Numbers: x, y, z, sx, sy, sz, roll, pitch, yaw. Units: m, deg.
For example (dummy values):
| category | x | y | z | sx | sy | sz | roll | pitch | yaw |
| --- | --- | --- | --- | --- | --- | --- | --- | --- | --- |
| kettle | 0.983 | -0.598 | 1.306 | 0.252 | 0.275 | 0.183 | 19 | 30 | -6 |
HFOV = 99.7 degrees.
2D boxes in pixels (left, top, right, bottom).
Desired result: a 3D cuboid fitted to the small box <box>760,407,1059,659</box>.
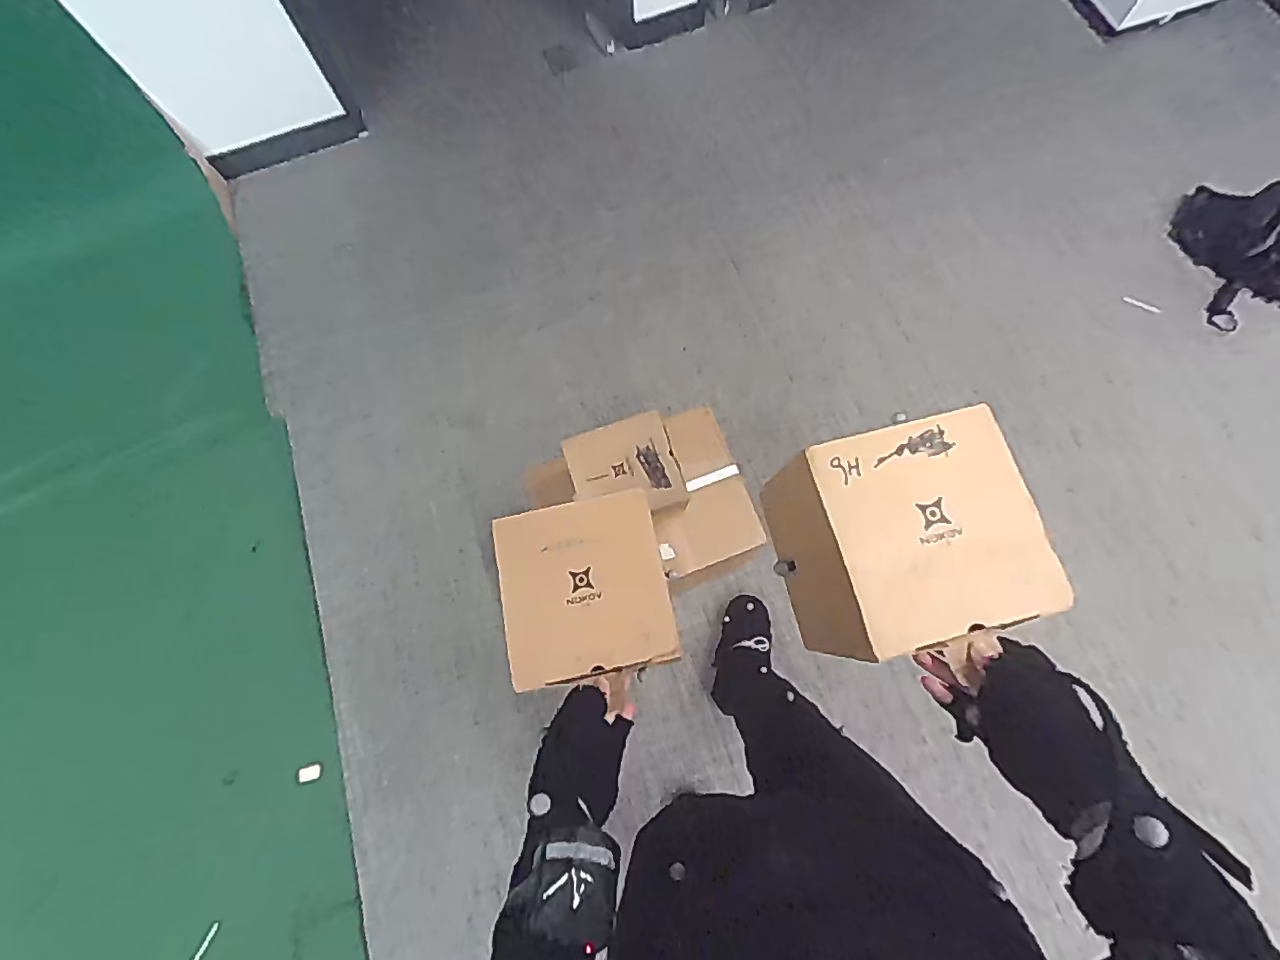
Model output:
| category | x | y | z | sx | sy | sz | roll | pitch | yaw |
| --- | --- | --- | --- | --- | --- | --- | --- | --- | --- |
| small box | 0.231 | 0.054 | 0.516 | 0.168 | 0.176 | 0.179 | -14 | 78 | -4 |

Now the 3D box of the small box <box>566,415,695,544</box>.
| category | x | y | z | sx | sy | sz | roll | pitch | yaw |
| --- | --- | --- | --- | --- | --- | --- | --- | --- | --- |
| small box | -0.017 | 0.007 | 0.975 | 0.179 | 0.176 | 0.168 | -22 | 79 | -4 |
